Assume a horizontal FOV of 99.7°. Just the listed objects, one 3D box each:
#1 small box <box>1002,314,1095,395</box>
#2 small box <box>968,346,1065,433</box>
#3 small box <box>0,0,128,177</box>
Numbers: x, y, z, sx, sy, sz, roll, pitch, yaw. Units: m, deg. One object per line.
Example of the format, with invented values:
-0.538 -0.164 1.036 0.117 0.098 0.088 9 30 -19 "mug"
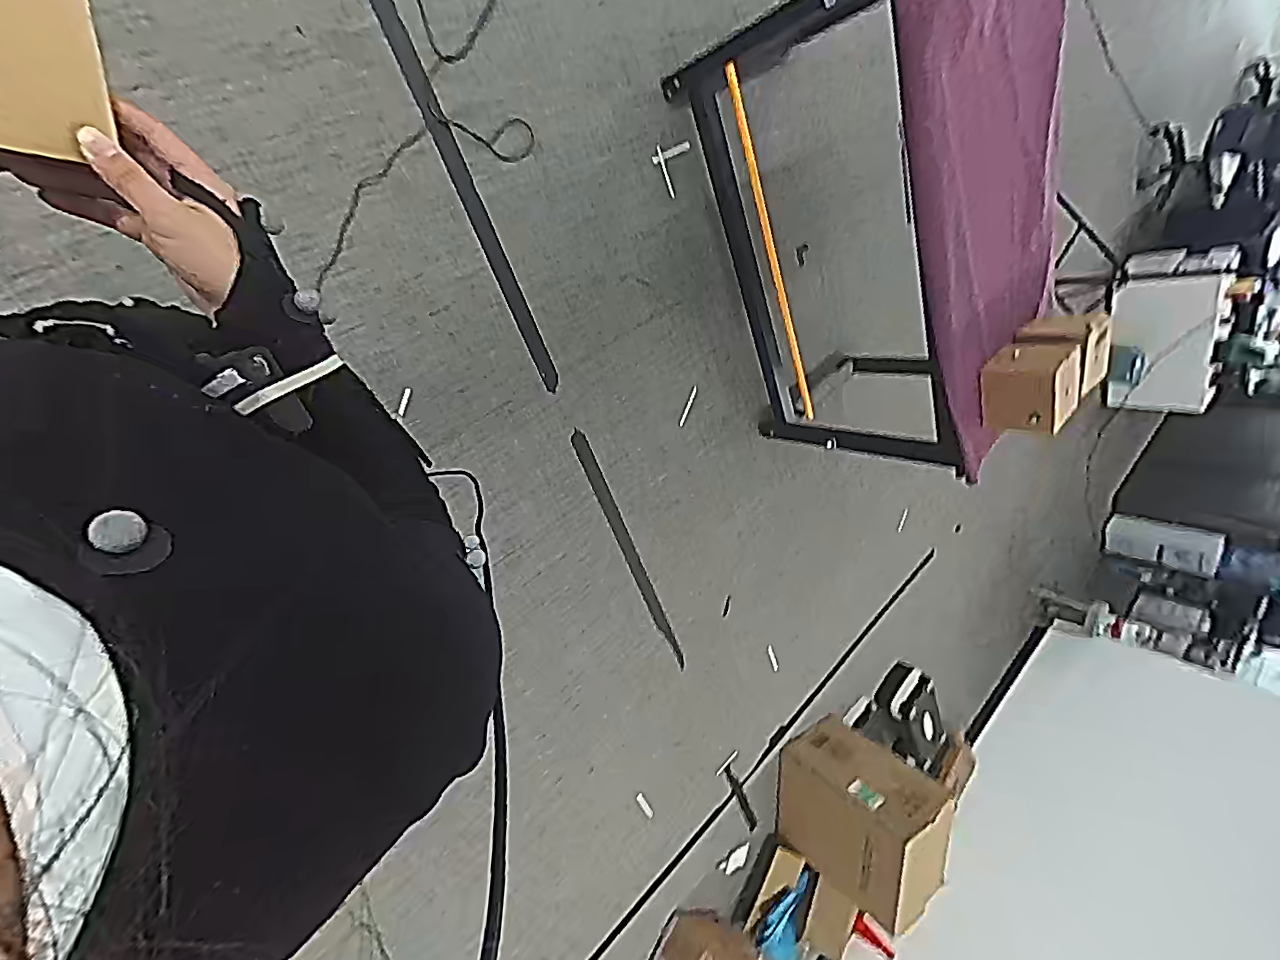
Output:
1.145 -0.357 1.527 0.168 0.176 0.179 -30 119 -26 "small box"
1.000 -0.247 1.443 0.168 0.176 0.179 -36 120 -27 "small box"
-0.398 -0.251 0.244 0.179 0.176 0.168 -32 132 -60 "small box"
